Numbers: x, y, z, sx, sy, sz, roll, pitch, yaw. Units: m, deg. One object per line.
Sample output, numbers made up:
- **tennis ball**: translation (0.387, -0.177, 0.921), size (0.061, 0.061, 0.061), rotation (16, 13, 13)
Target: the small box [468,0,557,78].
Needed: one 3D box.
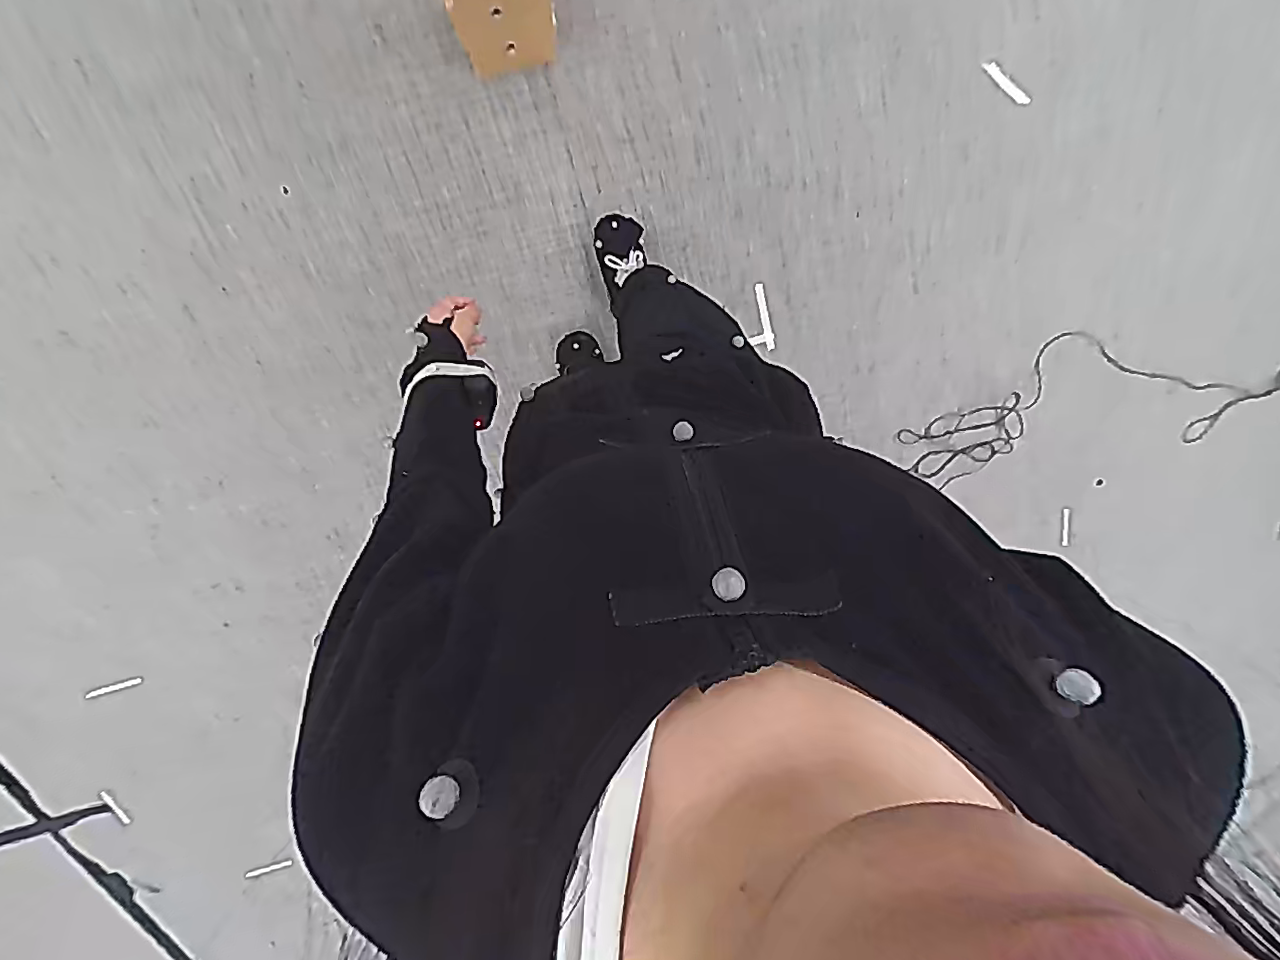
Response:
- **small box**: translation (-0.272, -0.939, 1.074), size (0.179, 0.176, 0.168), rotation (-16, 111, -2)

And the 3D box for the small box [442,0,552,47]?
- **small box**: translation (-0.256, -0.879, 0.922), size (0.179, 0.176, 0.168), rotation (-14, 112, -3)
